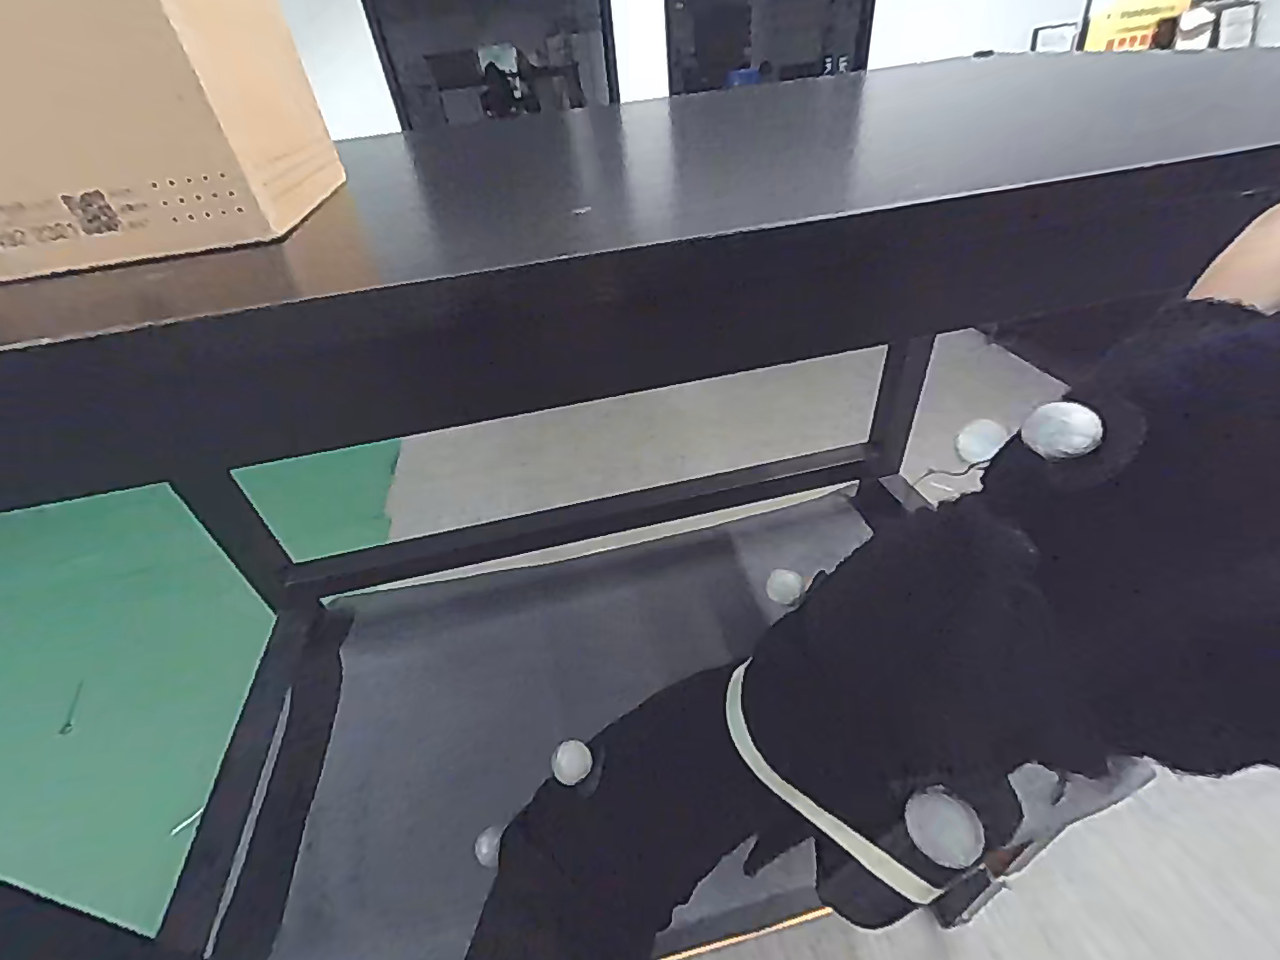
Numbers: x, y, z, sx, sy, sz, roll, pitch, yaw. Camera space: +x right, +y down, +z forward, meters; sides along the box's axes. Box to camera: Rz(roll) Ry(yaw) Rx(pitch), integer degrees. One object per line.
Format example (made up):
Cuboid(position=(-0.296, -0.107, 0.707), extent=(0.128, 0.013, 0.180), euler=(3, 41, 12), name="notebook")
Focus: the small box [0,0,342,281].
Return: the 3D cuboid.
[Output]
Cuboid(position=(-0.265, -0.197, 0.247), extent=(0.168, 0.176, 0.179), euler=(-13, 38, -8), name="small box")
